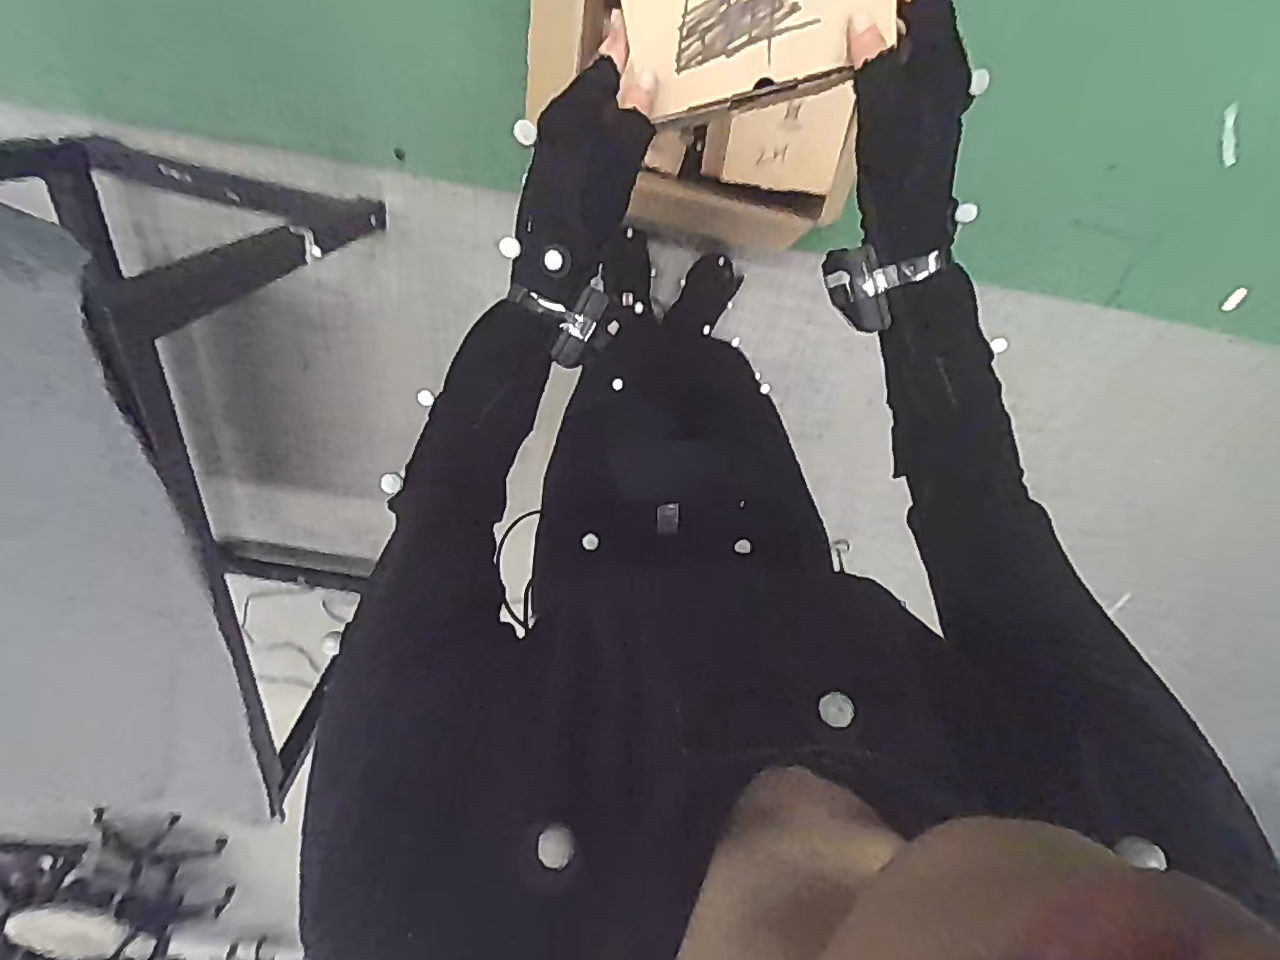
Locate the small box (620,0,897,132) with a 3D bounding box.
[{"bbox_3d":[0.069,-0.361,0.378,0.168,0.176,0.179,-9,119,8],"label":"small box"}]
